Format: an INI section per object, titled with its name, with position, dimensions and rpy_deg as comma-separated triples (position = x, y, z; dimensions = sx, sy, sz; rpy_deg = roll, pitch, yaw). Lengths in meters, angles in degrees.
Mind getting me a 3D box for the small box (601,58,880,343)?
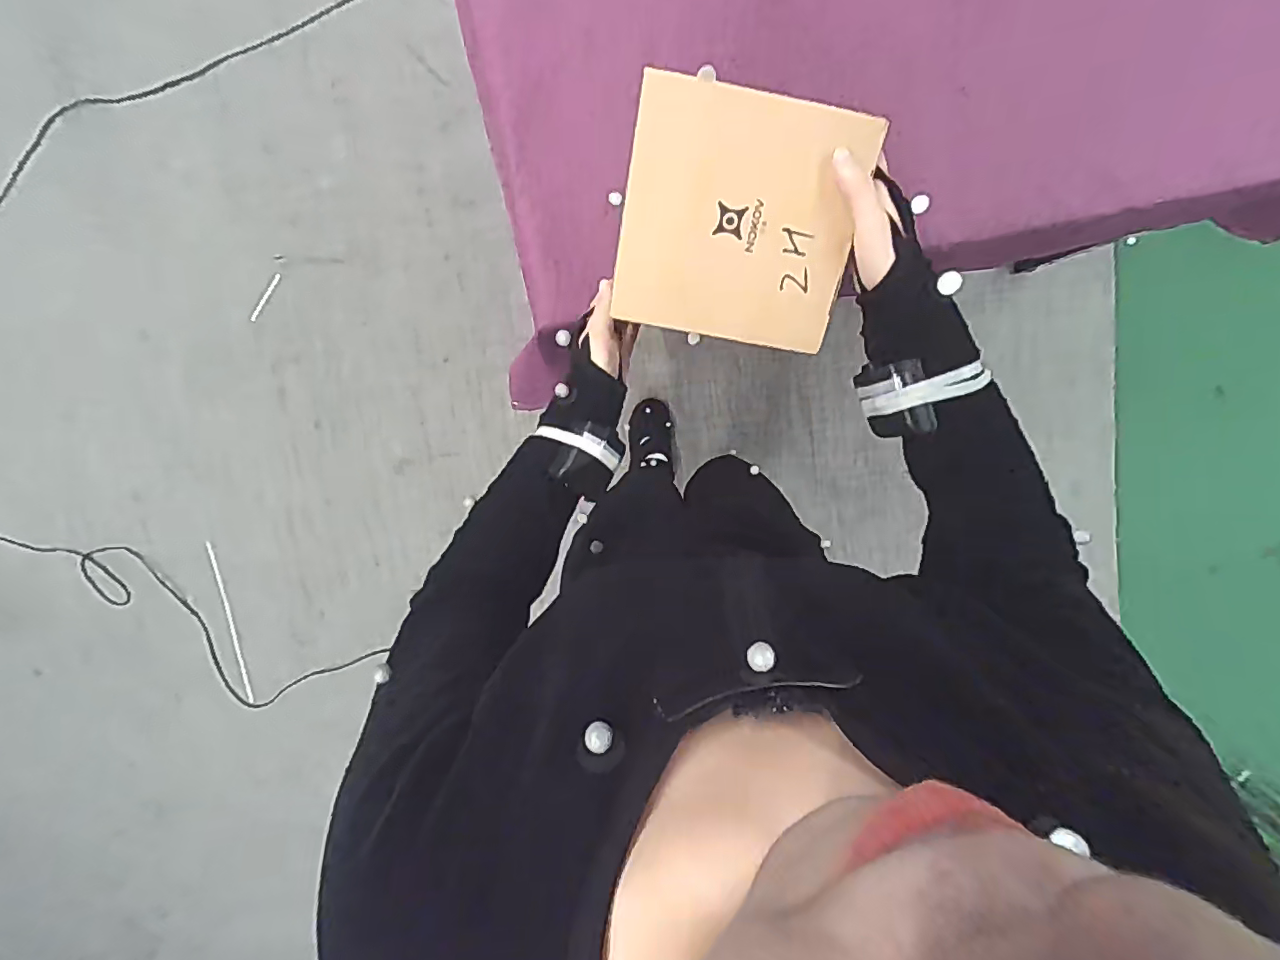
[small box]
position = 0.069, -0.230, 0.474
dimensions = 0.179, 0.176, 0.168
rpy_deg = 9, 114, -4
